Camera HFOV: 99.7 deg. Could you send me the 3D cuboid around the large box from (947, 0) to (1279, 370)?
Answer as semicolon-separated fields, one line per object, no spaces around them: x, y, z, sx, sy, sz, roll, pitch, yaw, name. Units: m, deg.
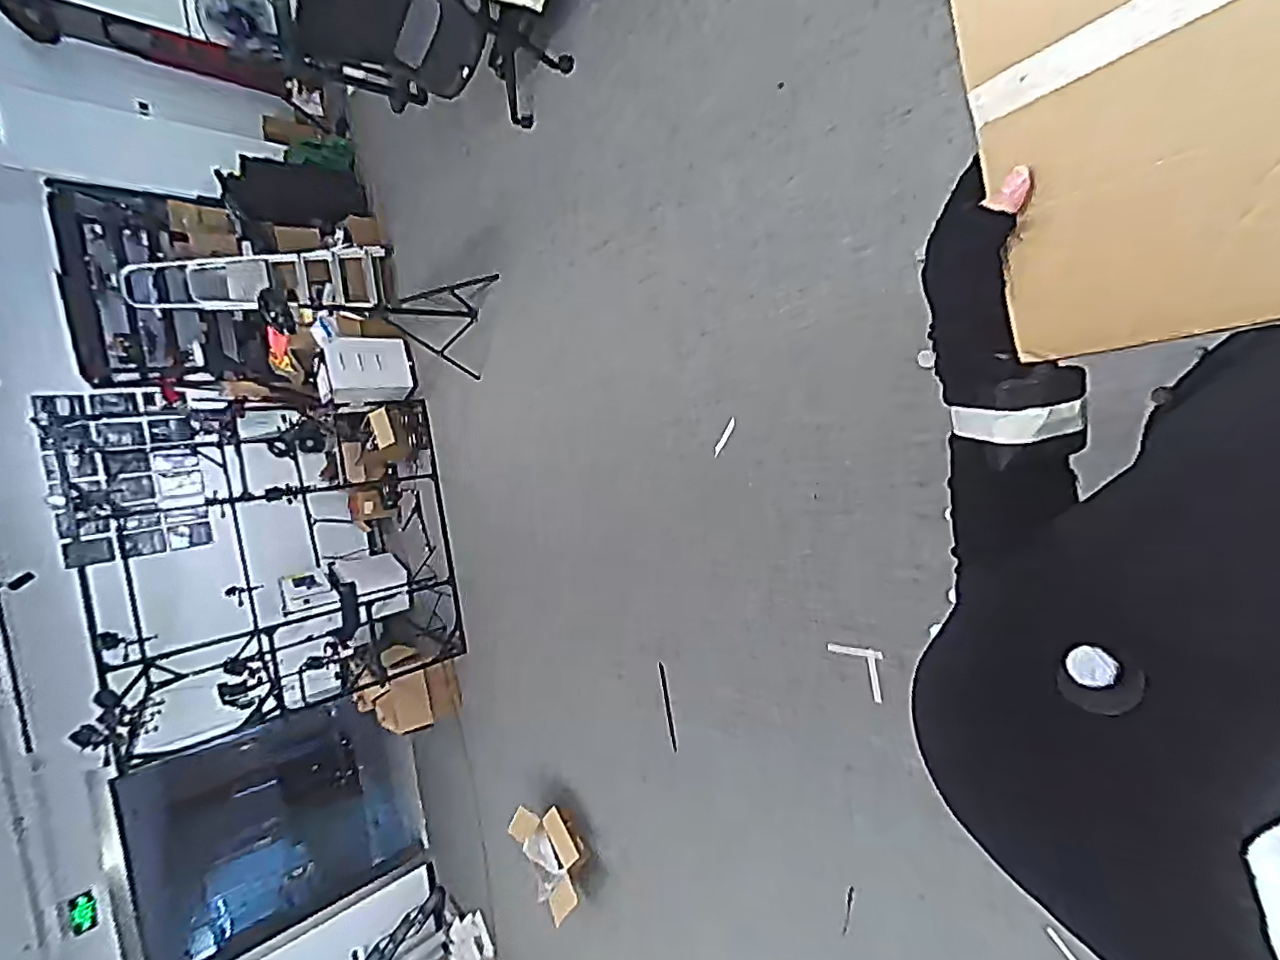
0.435;-0.279;0.260;0.408;0.320;0.320;-5;106;53;large box
